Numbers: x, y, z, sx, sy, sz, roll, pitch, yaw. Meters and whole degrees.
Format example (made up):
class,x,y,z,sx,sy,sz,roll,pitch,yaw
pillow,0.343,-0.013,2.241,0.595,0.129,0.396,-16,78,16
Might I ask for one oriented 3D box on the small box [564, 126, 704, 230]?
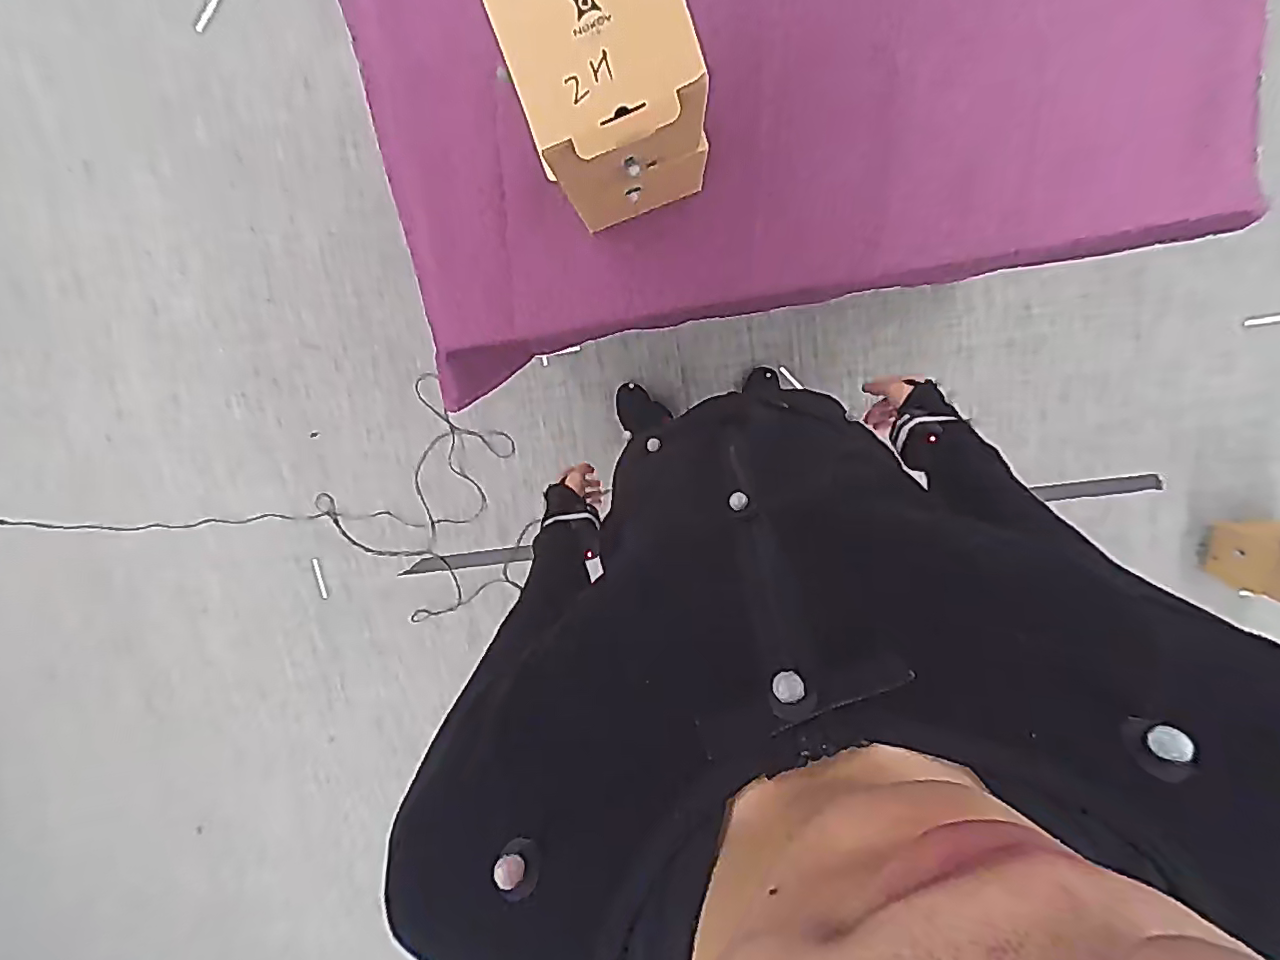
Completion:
class,x,y,z,sx,sy,sz,roll,pitch,yaw
small box,-0.026,-0.454,0.713,0.179,0.176,0.168,-19,101,6

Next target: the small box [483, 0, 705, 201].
class,x,y,z,sx,sy,sz,roll,pitch,yaw
small box,-0.043,-0.422,0.551,0.168,0.176,0.179,-20,101,7

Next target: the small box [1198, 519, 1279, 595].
class,x,y,z,sx,sy,sz,roll,pitch,yaw
small box,1.746,0.212,1.523,0.179,0.176,0.168,-4,102,3
